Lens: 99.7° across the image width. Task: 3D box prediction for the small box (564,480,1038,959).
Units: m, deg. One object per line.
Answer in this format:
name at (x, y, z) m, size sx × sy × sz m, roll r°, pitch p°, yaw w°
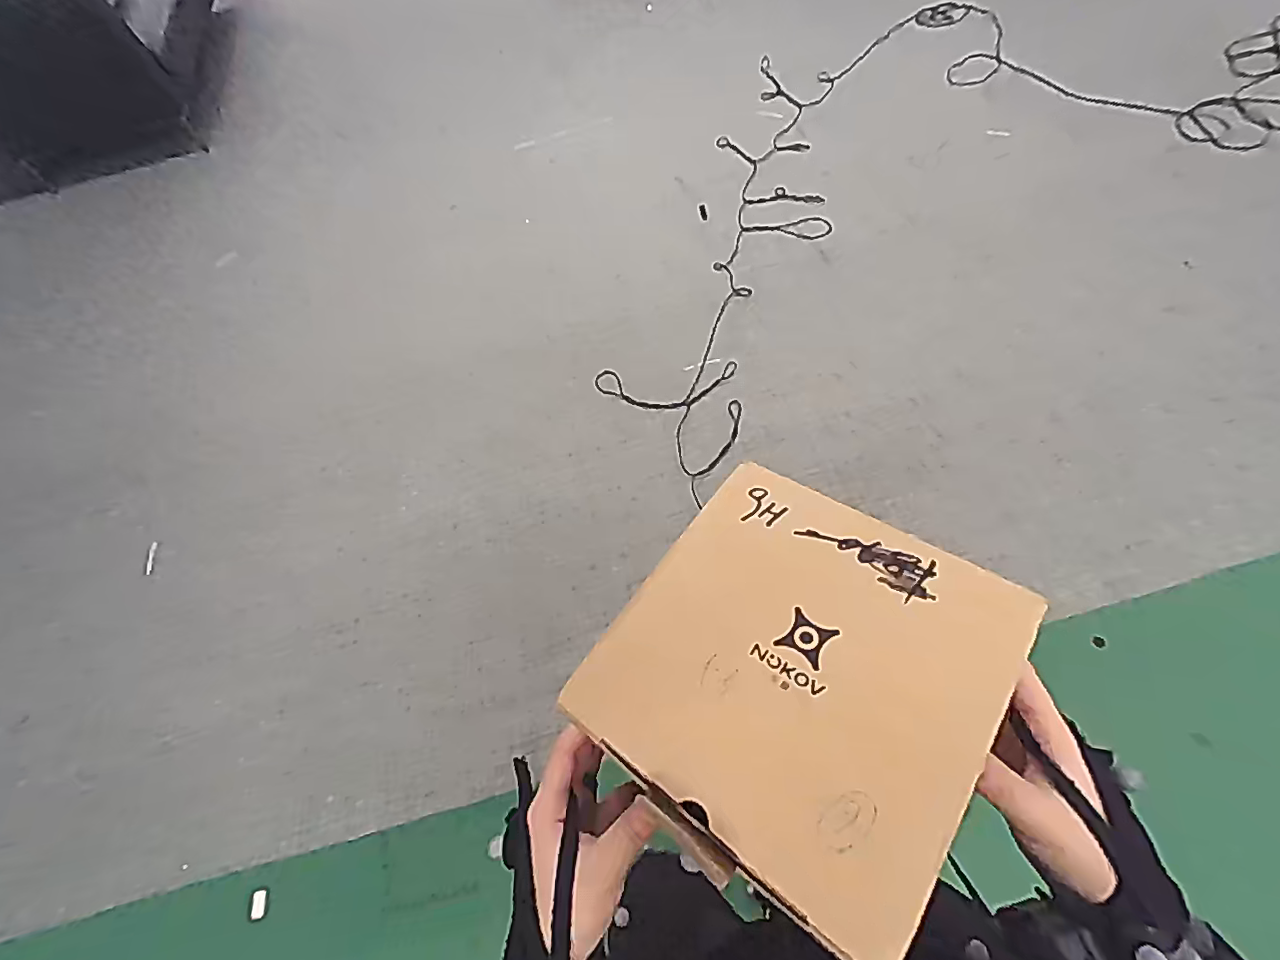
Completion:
small box at (0.090, 0.139, 0.325) m, size 0.168 × 0.176 × 0.179 m, roll 28°, pitch 65°, yaw 29°
